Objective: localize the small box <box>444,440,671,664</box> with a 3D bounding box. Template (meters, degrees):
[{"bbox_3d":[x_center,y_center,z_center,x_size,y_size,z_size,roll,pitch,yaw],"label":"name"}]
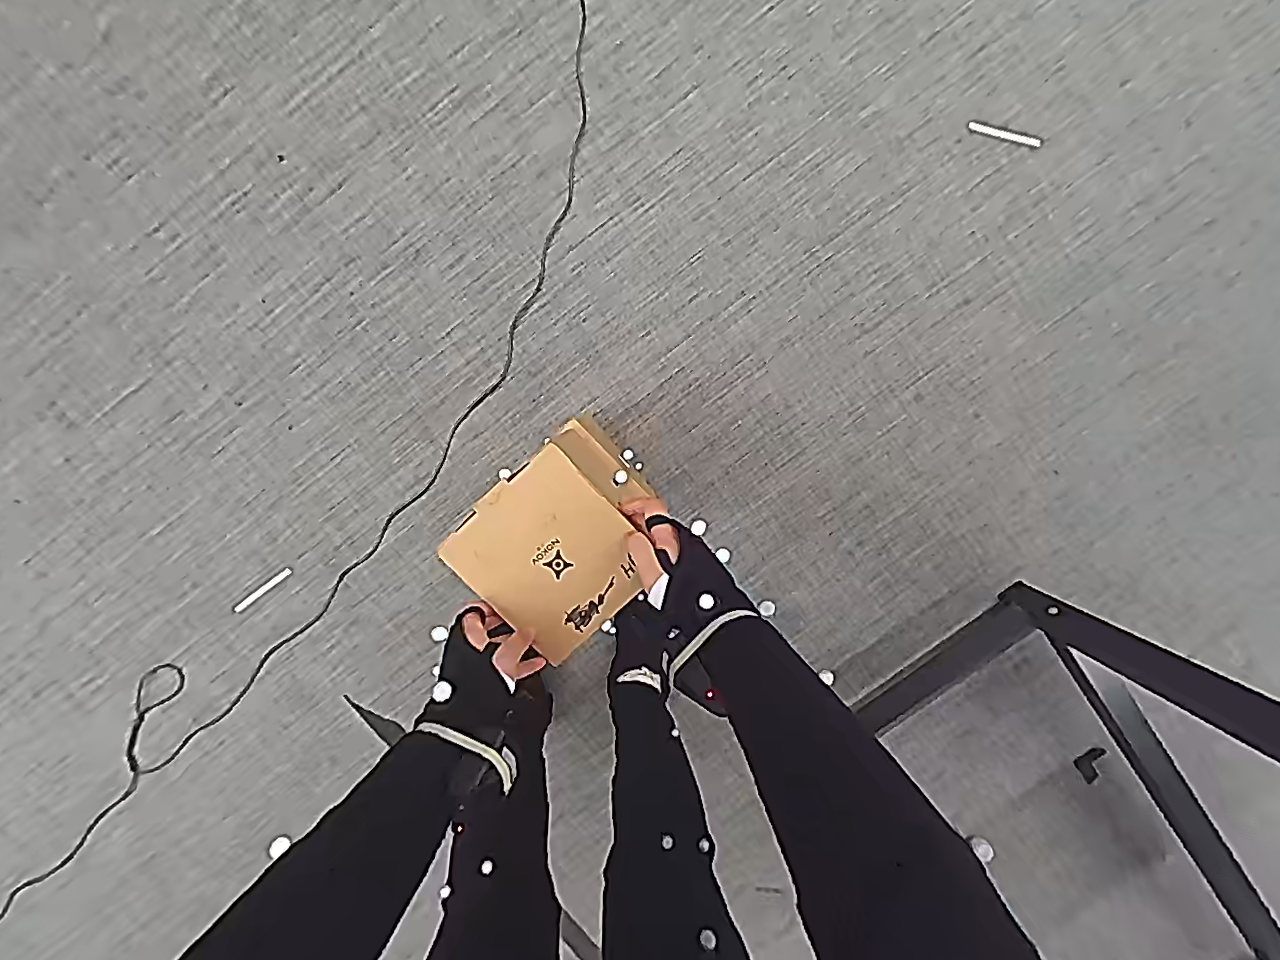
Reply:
[{"bbox_3d":[-0.084,0.069,0.628,0.168,0.176,0.179,-42,96,6],"label":"small box"}]

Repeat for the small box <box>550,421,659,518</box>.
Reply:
[{"bbox_3d":[-0.092,0.031,0.791,0.179,0.176,0.168,-44,98,3],"label":"small box"}]
